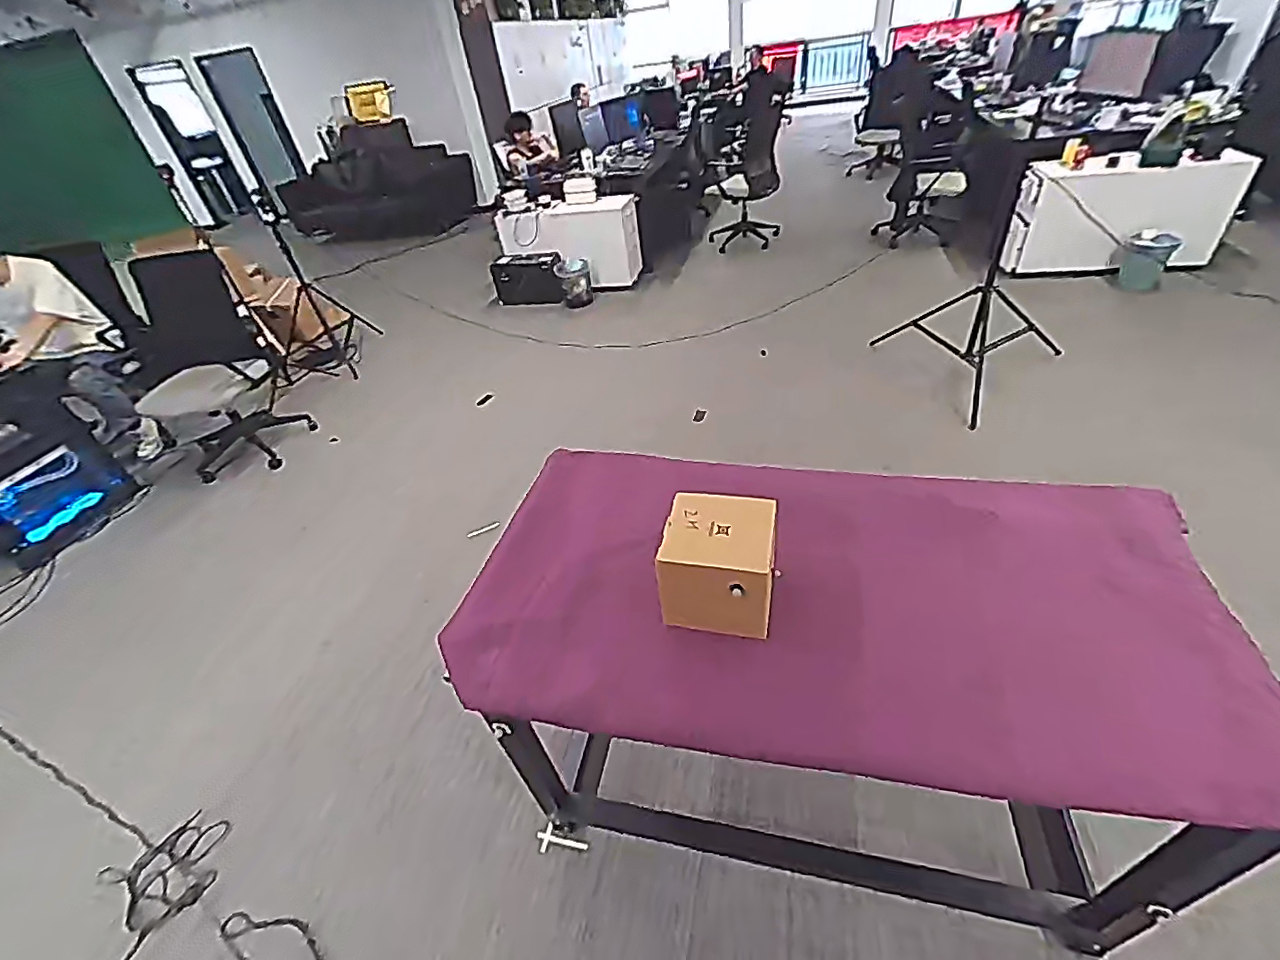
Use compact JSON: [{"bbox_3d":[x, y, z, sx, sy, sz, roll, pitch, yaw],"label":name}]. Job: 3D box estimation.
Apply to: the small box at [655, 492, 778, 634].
[{"bbox_3d":[0.136,0.141,0.922,0.179,0.176,0.168,4,40,16],"label":"small box"}]
